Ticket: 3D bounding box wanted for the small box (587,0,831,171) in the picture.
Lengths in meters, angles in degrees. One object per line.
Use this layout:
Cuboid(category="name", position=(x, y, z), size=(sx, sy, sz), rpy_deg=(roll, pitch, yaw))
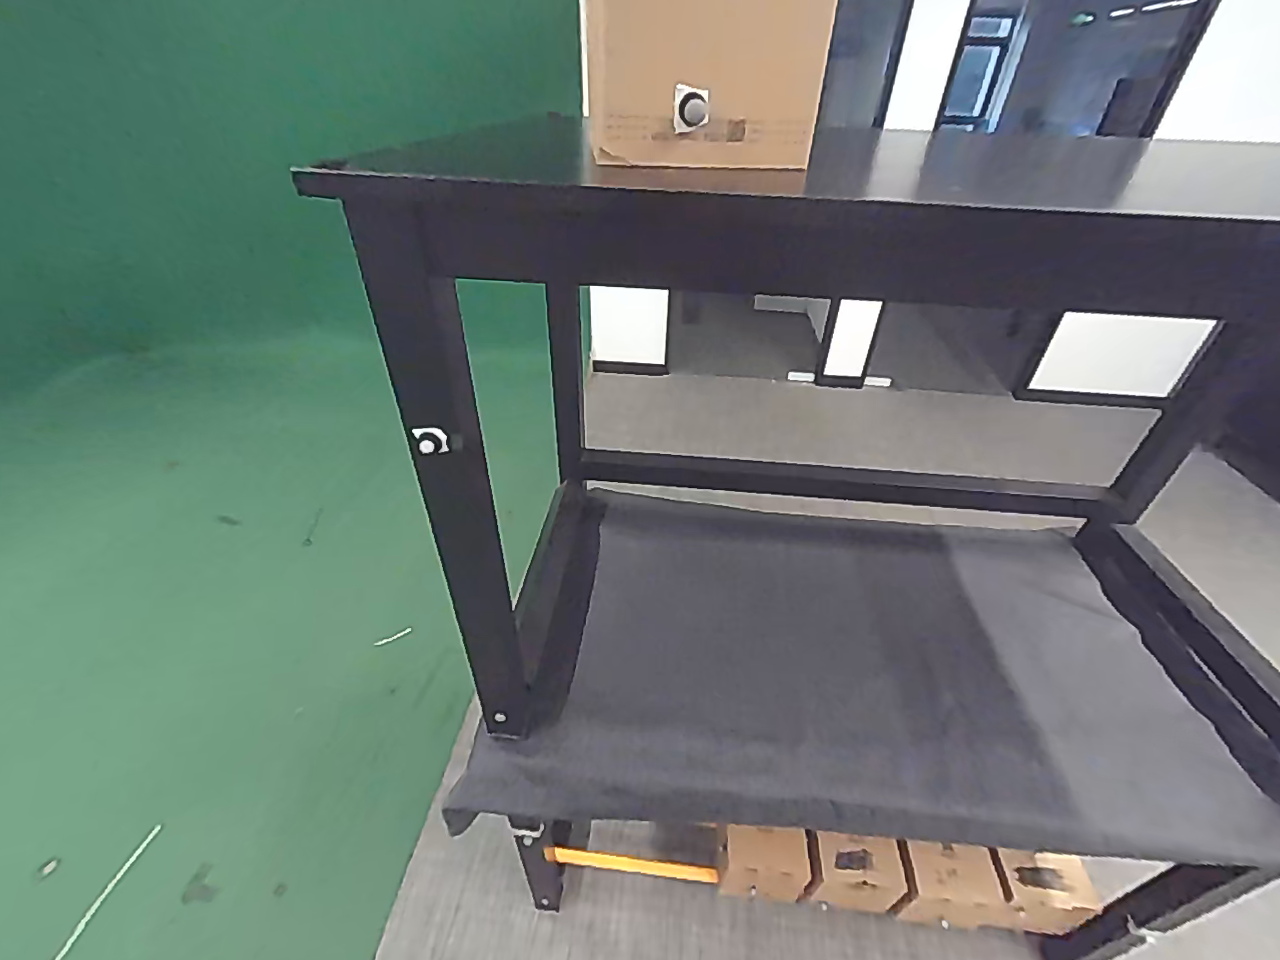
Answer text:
Cuboid(category="small box", position=(0.041, -0.359, 0.437), size=(0.168, 0.176, 0.179), rpy_deg=(-3, 38, -5))
